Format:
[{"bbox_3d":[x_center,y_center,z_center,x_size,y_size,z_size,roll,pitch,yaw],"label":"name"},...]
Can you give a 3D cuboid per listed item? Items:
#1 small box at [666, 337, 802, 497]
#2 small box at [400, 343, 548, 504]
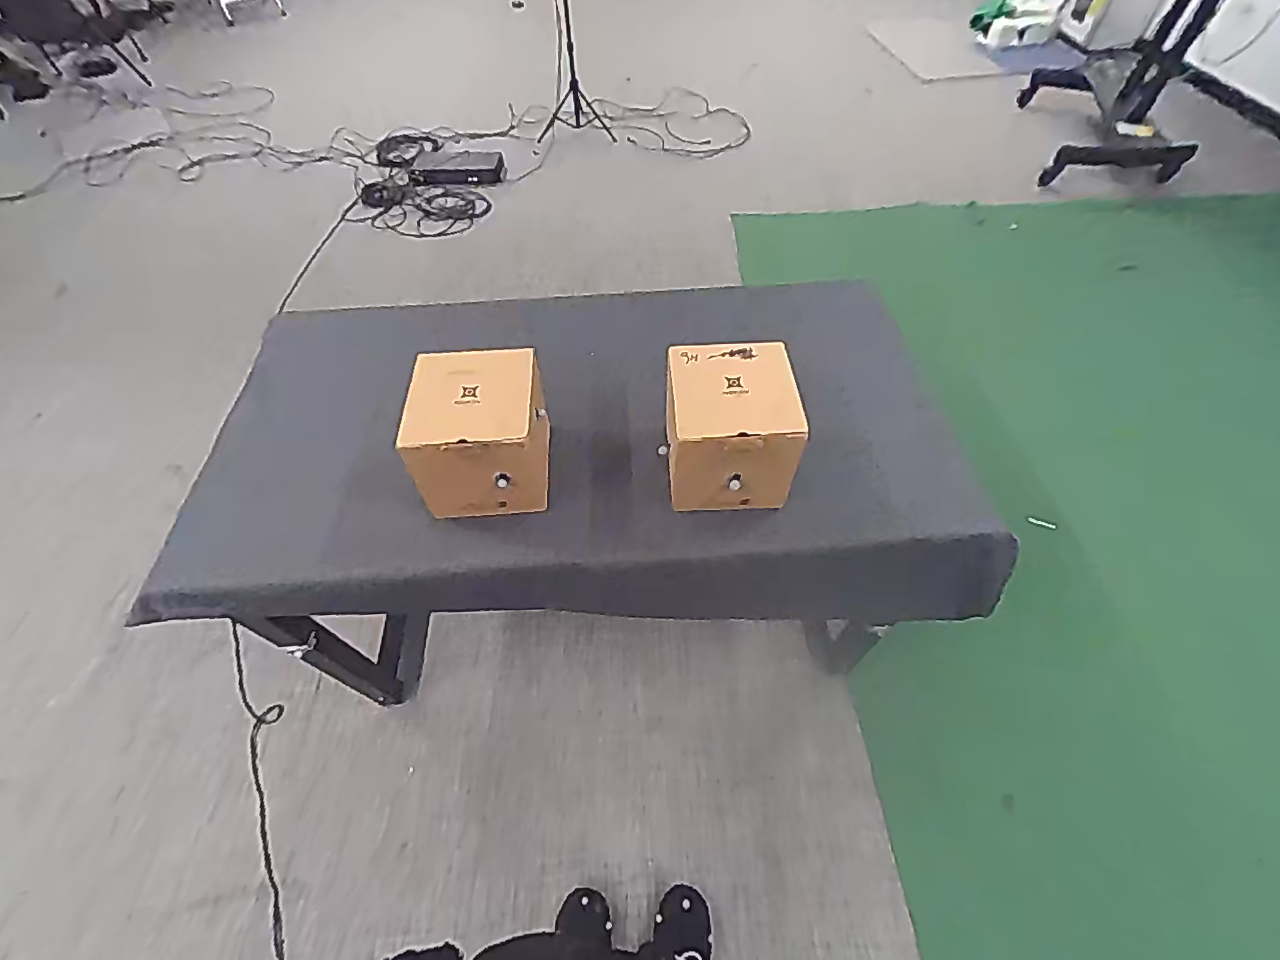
[{"bbox_3d":[0.124,-0.084,0.791,0.168,0.176,0.179,-2,55,0],"label":"small box"},{"bbox_3d":[-0.228,-0.076,0.793,0.168,0.176,0.179,-4,53,-3],"label":"small box"}]
